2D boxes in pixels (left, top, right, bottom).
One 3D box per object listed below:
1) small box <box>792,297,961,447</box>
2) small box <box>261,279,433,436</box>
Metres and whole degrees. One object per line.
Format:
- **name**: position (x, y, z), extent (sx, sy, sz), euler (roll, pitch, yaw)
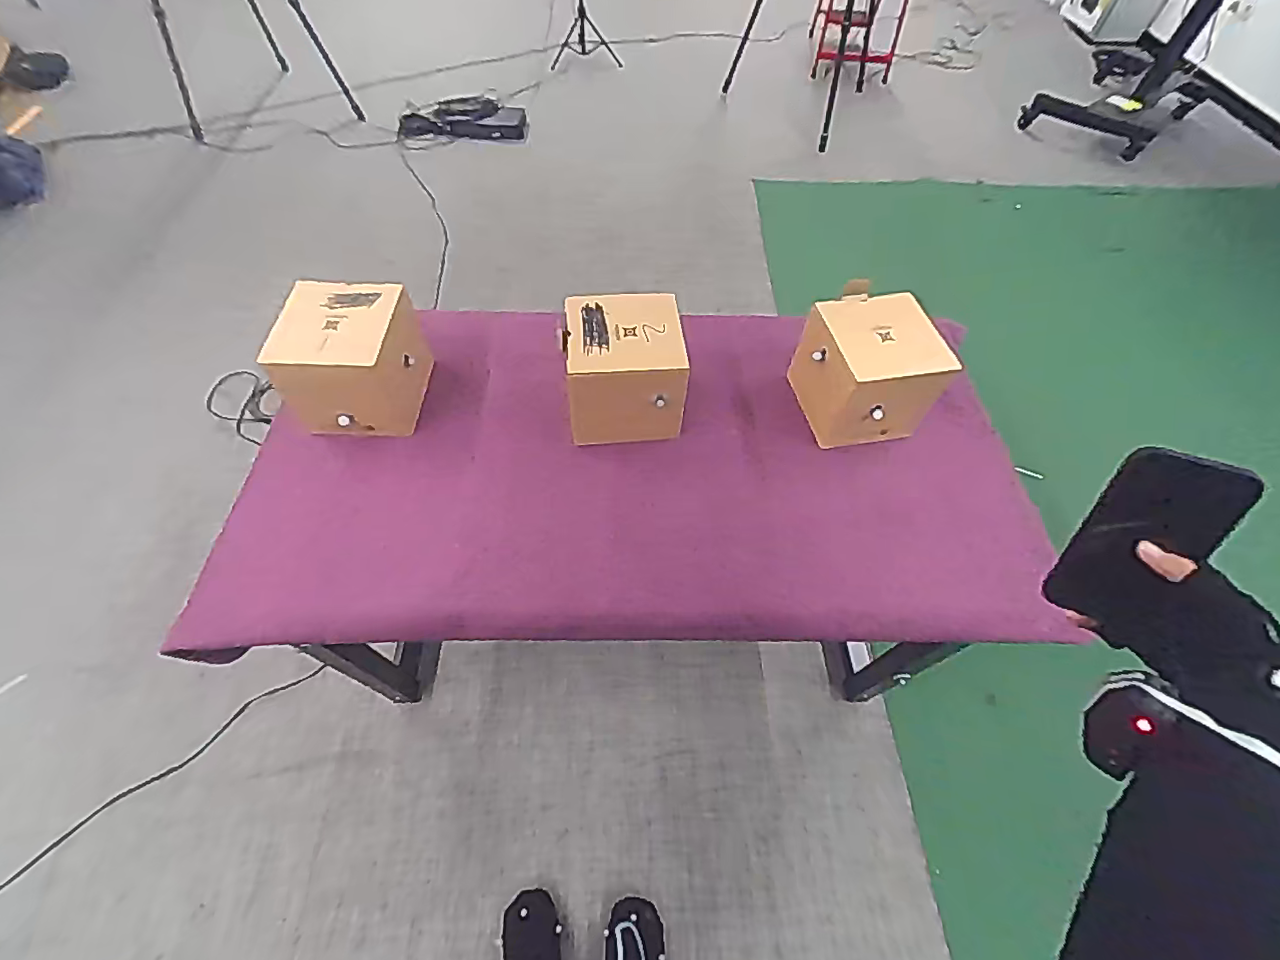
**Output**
- **small box**: position (0.368, -0.168, 0.879), extent (0.168, 0.176, 0.179), euler (-8, 57, -7)
- **small box**: position (-0.446, -0.191, 0.859), extent (0.168, 0.176, 0.179), euler (2, 59, -1)
